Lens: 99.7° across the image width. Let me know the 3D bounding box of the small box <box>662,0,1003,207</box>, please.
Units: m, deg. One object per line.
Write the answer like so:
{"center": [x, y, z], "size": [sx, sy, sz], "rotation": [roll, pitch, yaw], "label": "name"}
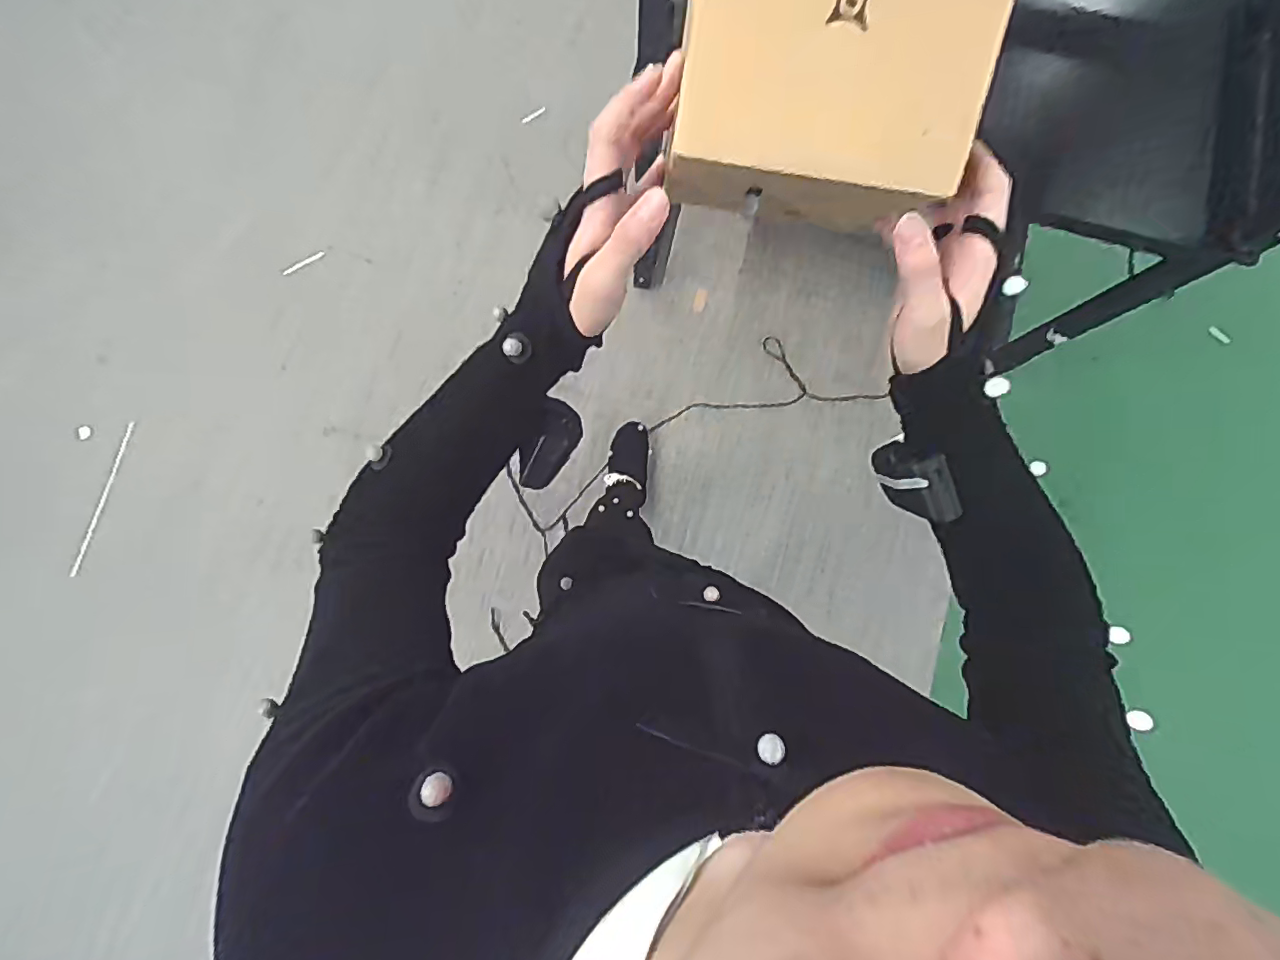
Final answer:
{"center": [0.108, -0.288, 0.347], "size": [0.168, 0.176, 0.179], "rotation": [7, 109, -1], "label": "small box"}
